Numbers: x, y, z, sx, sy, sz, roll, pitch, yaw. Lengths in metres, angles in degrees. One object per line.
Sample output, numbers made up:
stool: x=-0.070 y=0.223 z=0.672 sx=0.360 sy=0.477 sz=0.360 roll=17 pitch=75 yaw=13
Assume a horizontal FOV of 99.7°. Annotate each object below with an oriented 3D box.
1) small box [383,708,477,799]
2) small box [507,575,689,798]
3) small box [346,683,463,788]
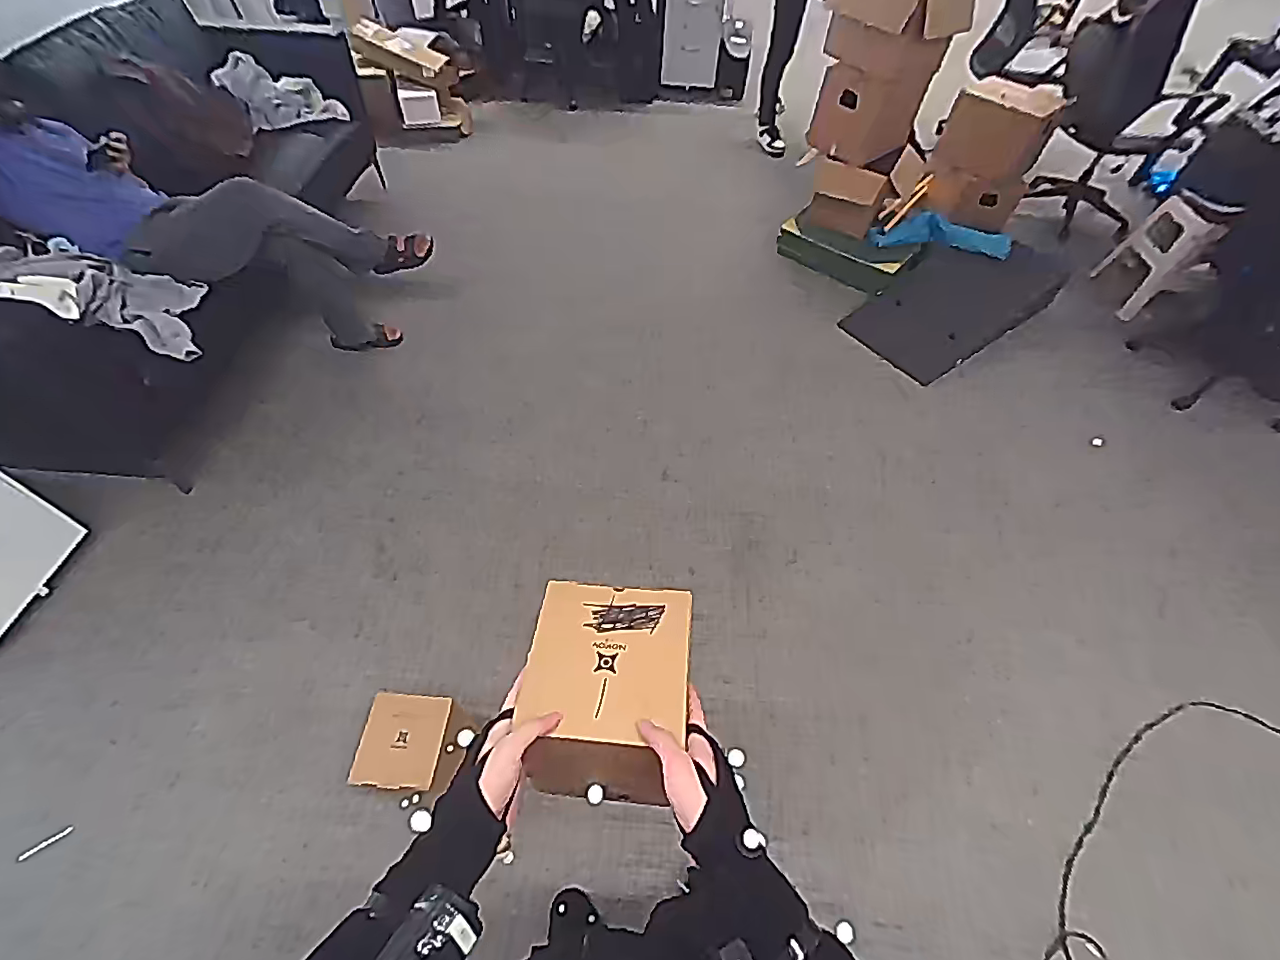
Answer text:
small box: x=-0.504 y=0.655 z=1.307 sx=0.168 sy=0.176 sz=0.179 roll=6 pitch=54 yaw=1
small box: x=-0.036 y=0.235 z=0.618 sx=0.168 sy=0.176 sz=0.179 roll=4 pitch=46 yaw=6
small box: x=-0.498 y=0.560 z=1.176 sx=0.168 sy=0.176 sz=0.179 roll=4 pitch=53 yaw=-1
